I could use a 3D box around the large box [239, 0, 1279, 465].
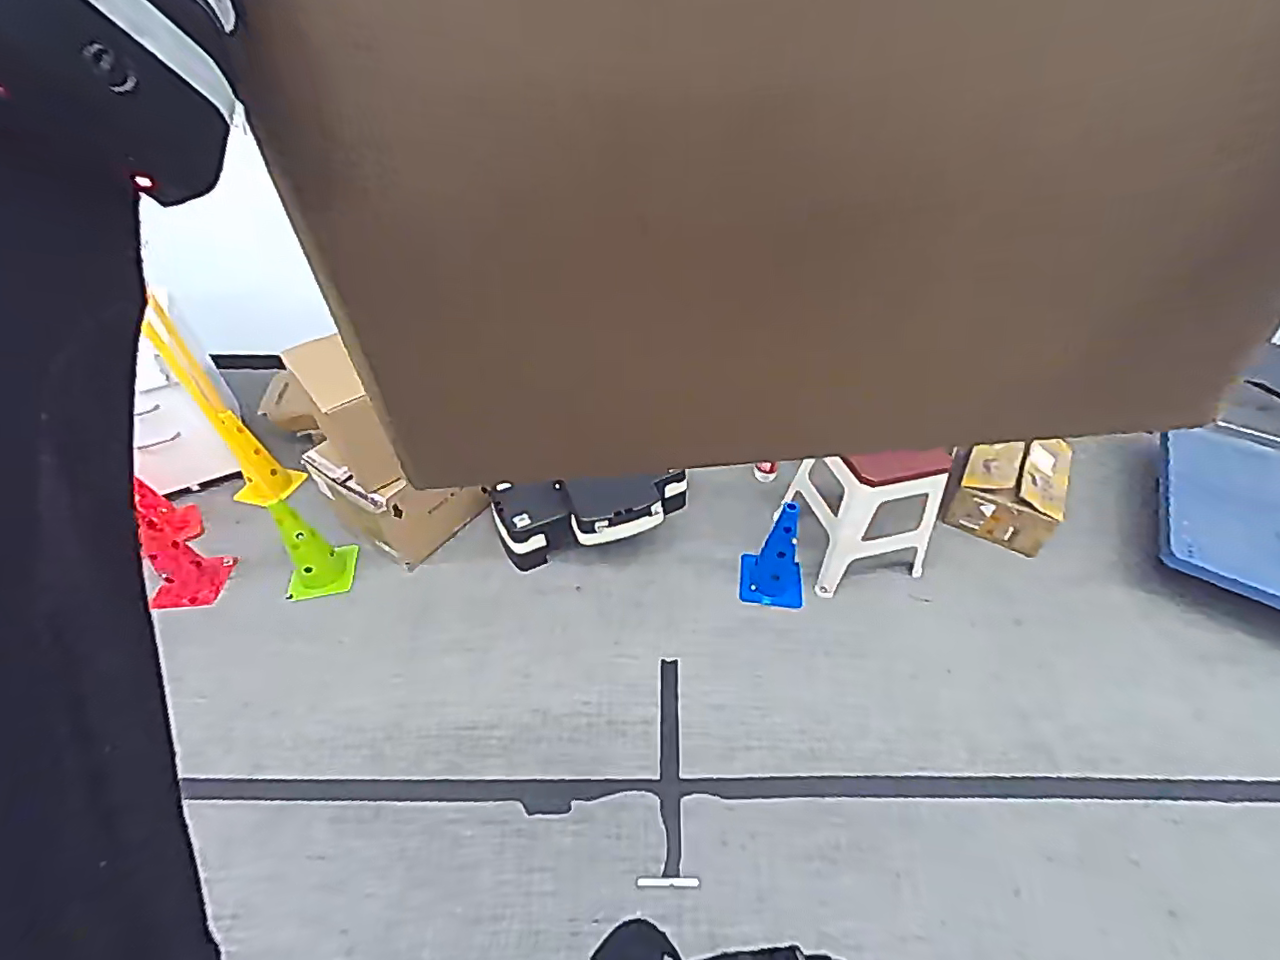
[{"bbox_3d":[0.063,-0.228,0.304,0.408,0.320,0.320,-4,38,-1],"label":"large box"}]
